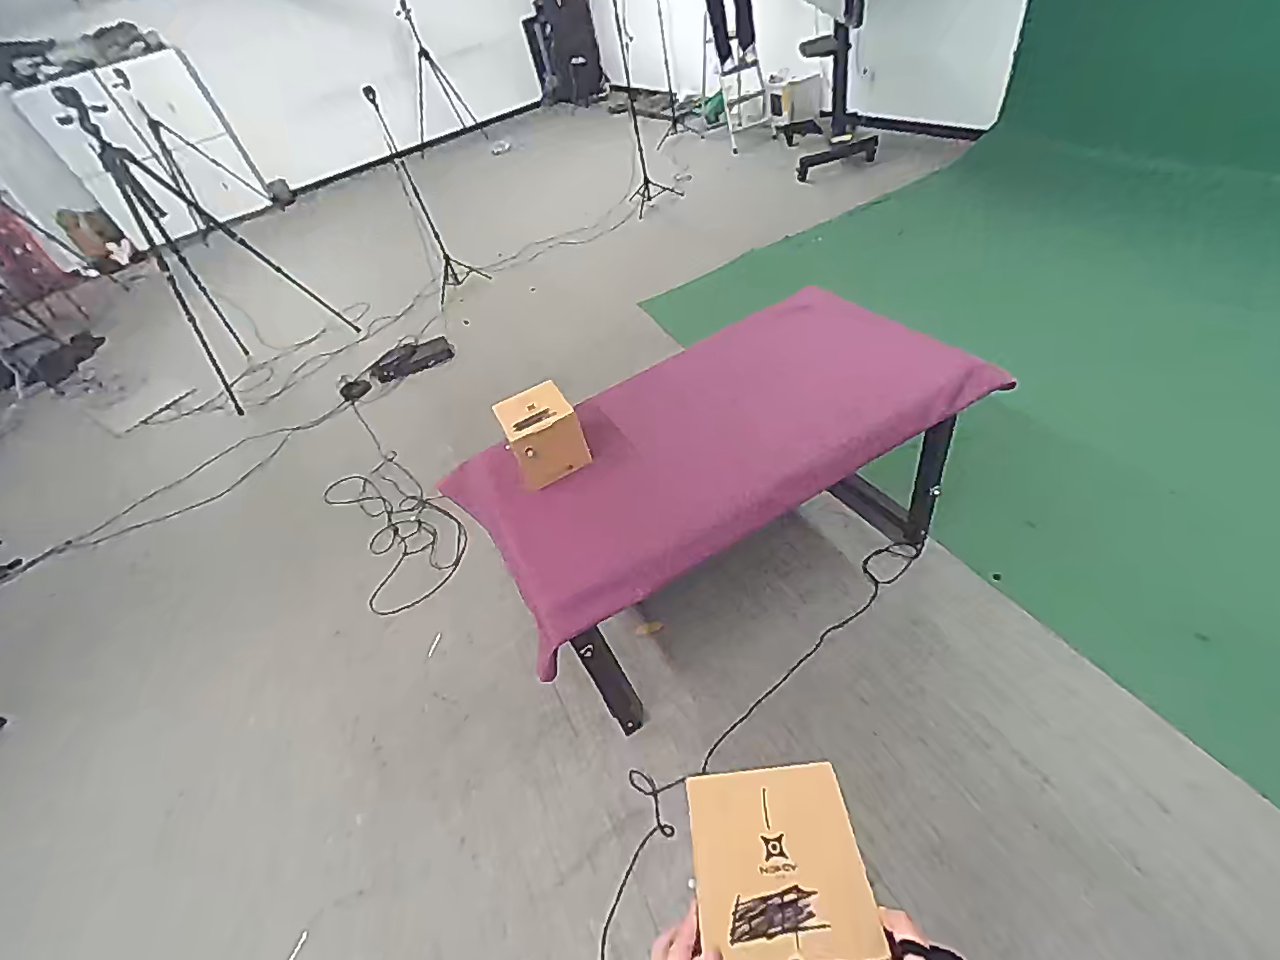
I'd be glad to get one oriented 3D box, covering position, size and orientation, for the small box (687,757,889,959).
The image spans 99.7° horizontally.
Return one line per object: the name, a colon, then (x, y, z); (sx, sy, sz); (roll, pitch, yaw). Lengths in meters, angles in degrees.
small box: (0.149, 0.434, 0.583); (0.168, 0.176, 0.179); (-9, 34, 4)
